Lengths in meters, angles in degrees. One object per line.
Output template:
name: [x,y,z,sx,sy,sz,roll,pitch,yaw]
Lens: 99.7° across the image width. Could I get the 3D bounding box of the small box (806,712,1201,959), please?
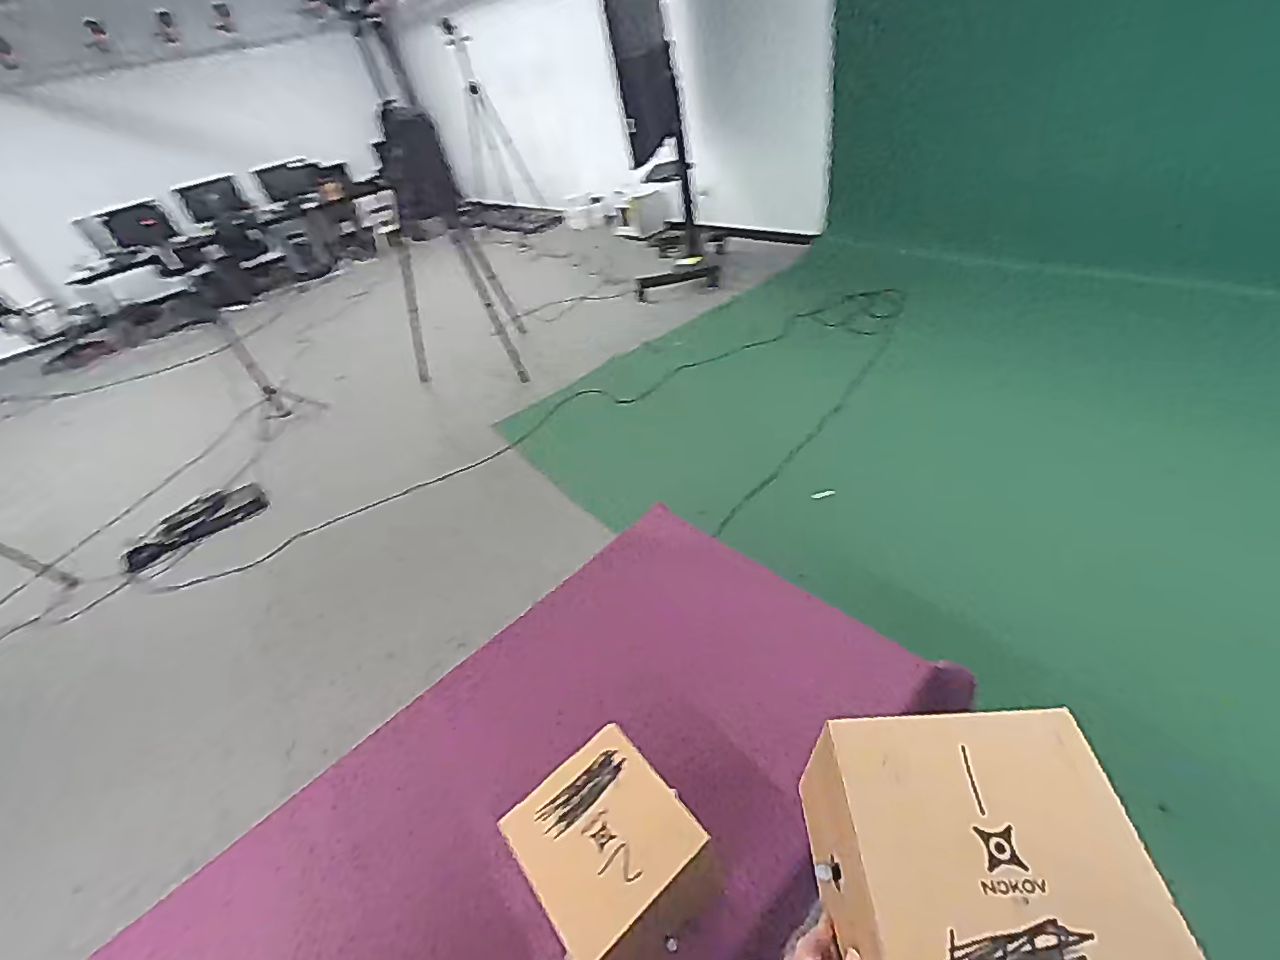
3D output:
small box: [0.219,0.279,0.372,0.168,0.176,0.179,-4,47,5]
